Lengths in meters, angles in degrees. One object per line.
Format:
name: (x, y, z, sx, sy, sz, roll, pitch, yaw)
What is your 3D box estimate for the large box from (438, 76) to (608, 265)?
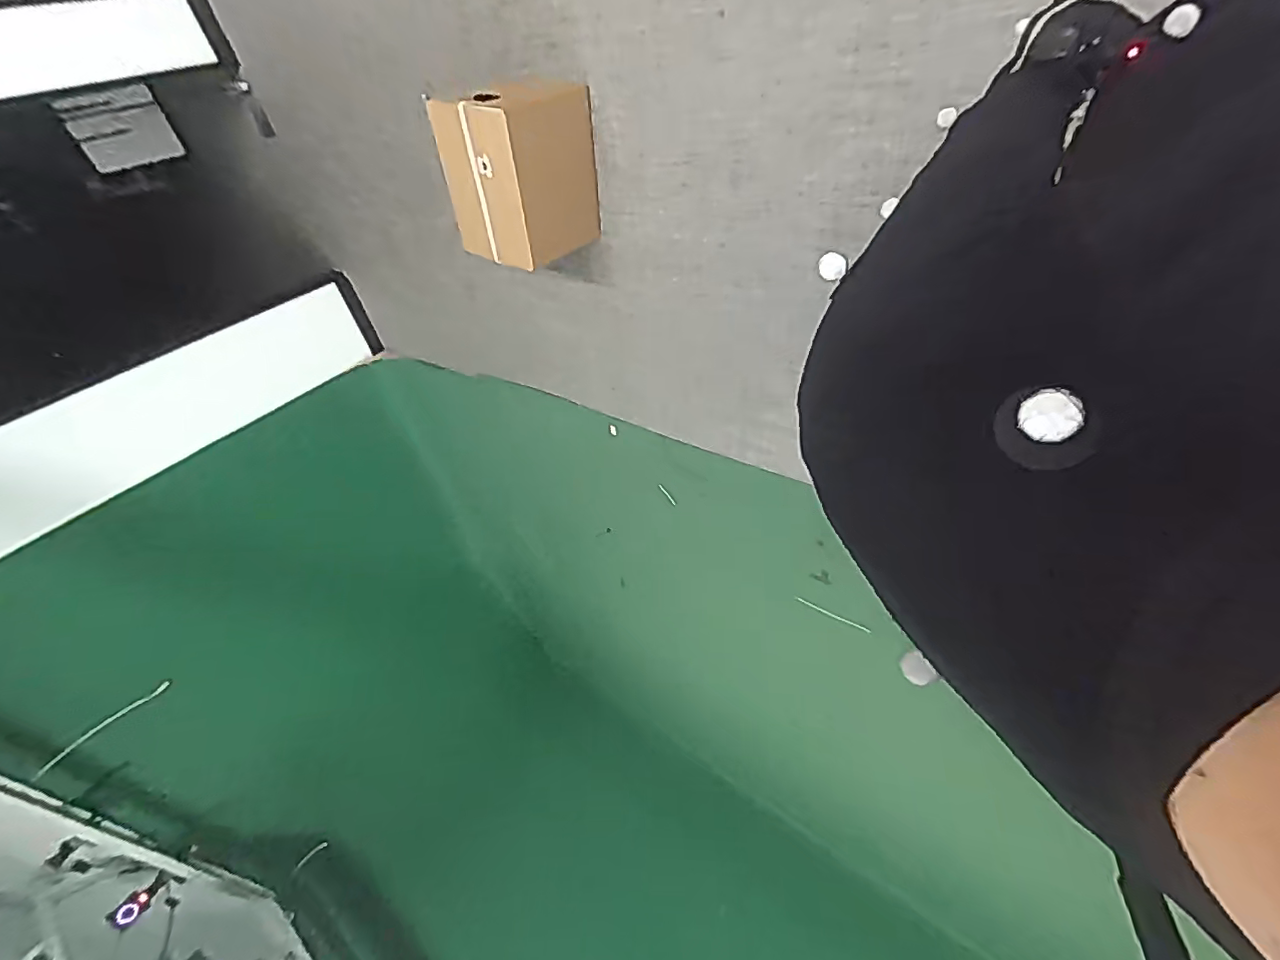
large box: (-0.318, -0.907, 1.585, 0.320, 0.320, 0.408, 27, 142, 27)
